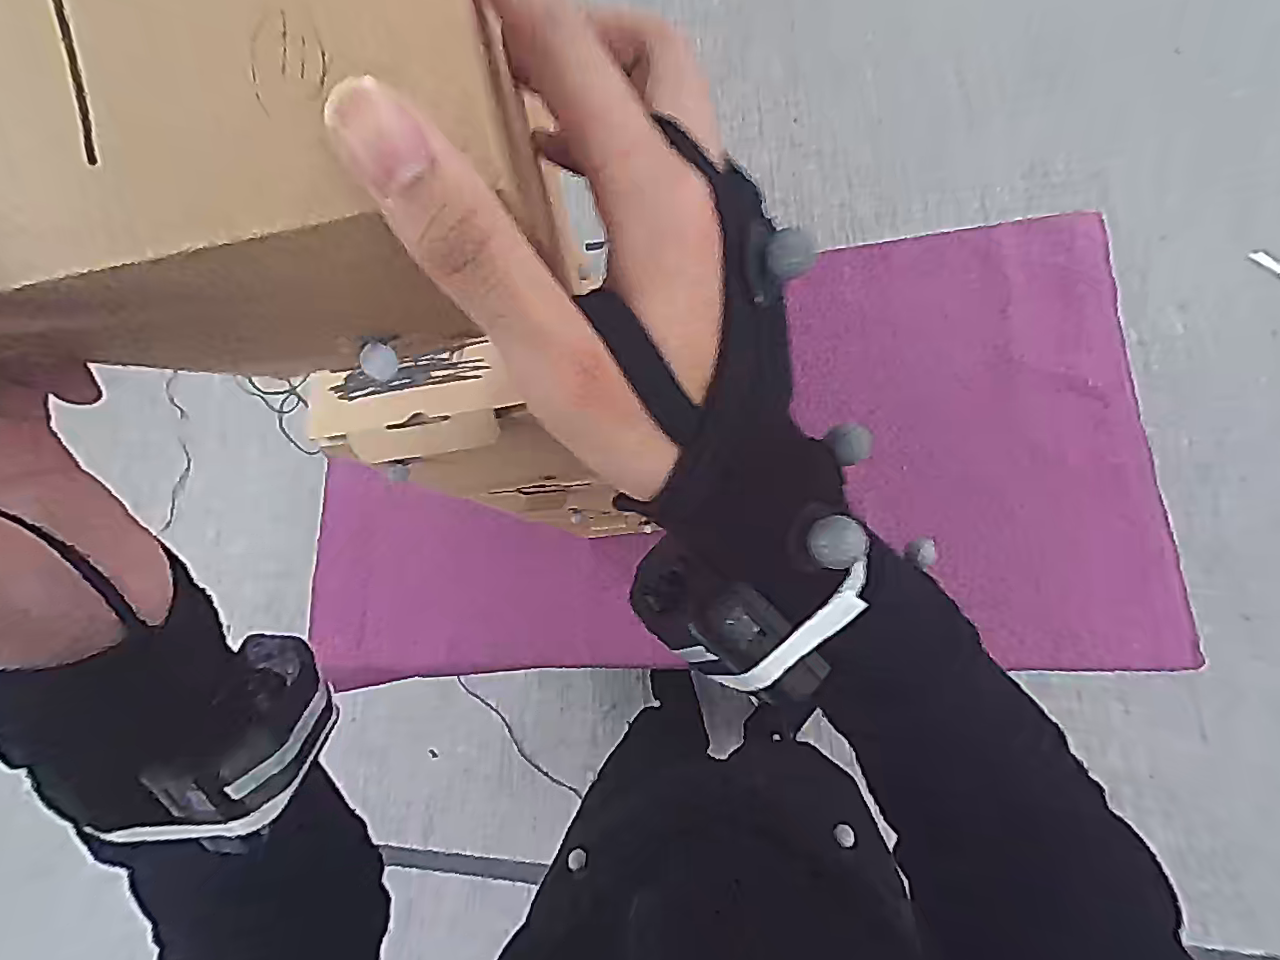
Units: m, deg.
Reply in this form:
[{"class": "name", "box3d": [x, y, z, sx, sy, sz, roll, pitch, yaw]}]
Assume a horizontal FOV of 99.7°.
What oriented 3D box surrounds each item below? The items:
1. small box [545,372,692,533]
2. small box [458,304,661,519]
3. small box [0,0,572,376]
[{"class": "small box", "box3d": [-0.025, -0.024, 0.737, 0.168, 0.176, 0.179, -7, 76, 12]}, {"class": "small box", "box3d": [-0.074, -0.060, 0.583, 0.168, 0.176, 0.179, -5, 76, 13]}, {"class": "small box", "box3d": [-0.128, -0.142, 0.187, 0.168, 0.176, 0.179, -11, 97, 2]}]
